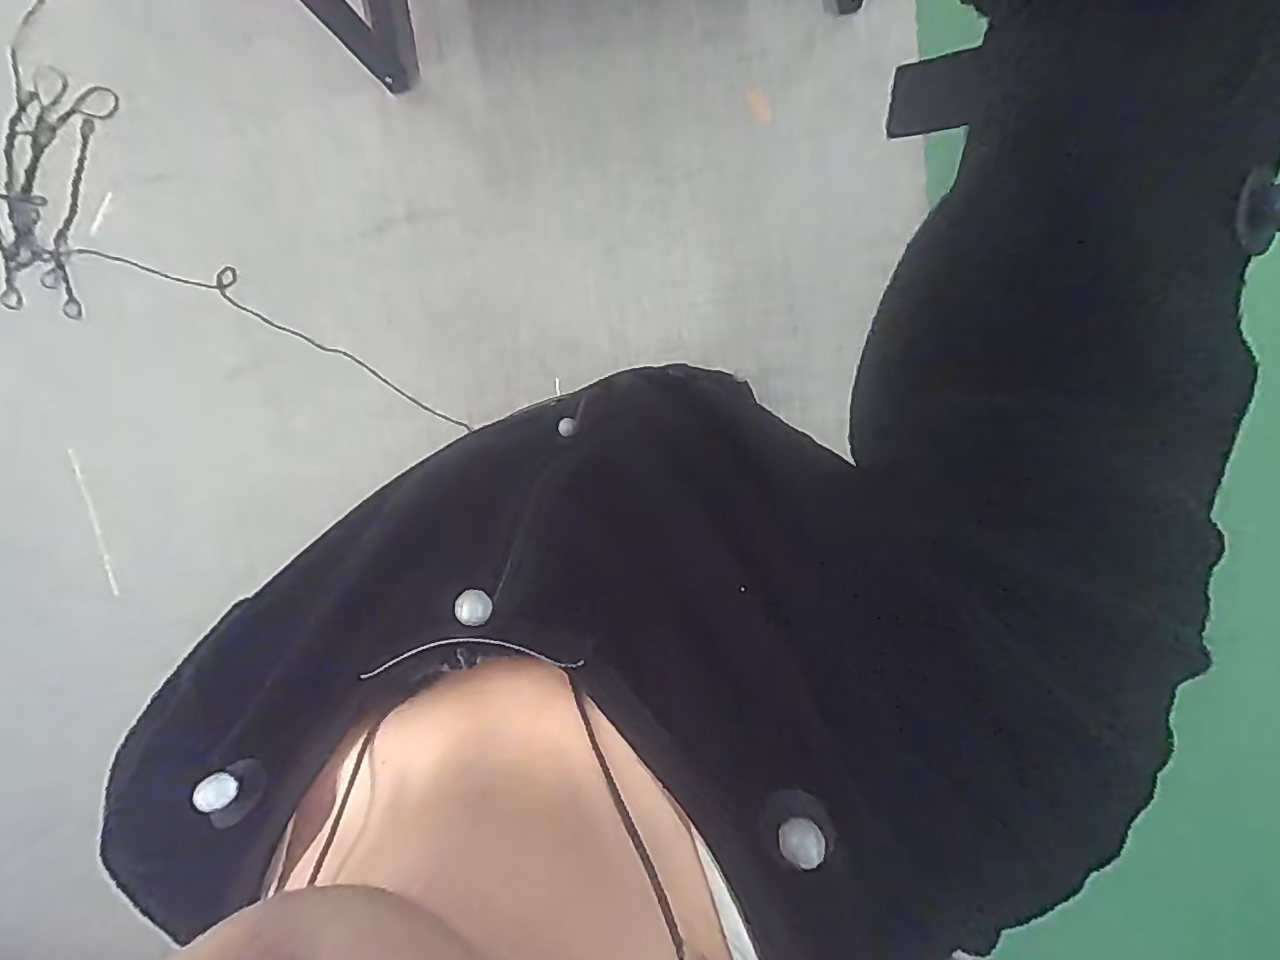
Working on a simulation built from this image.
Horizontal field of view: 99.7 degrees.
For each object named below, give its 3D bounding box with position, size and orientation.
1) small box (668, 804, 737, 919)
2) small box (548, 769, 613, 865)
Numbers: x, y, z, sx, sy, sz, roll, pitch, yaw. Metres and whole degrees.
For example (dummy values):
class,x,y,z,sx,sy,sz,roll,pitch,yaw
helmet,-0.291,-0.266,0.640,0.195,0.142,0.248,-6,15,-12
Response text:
class,x,y,z,sx,sy,sz,roll,pitch,yaw
small box,0.156,0.966,1.382,0.168,0.176,0.179,0,99,6
small box,-0.171,0.972,1.574,0.168,0.176,0.179,0,99,6
